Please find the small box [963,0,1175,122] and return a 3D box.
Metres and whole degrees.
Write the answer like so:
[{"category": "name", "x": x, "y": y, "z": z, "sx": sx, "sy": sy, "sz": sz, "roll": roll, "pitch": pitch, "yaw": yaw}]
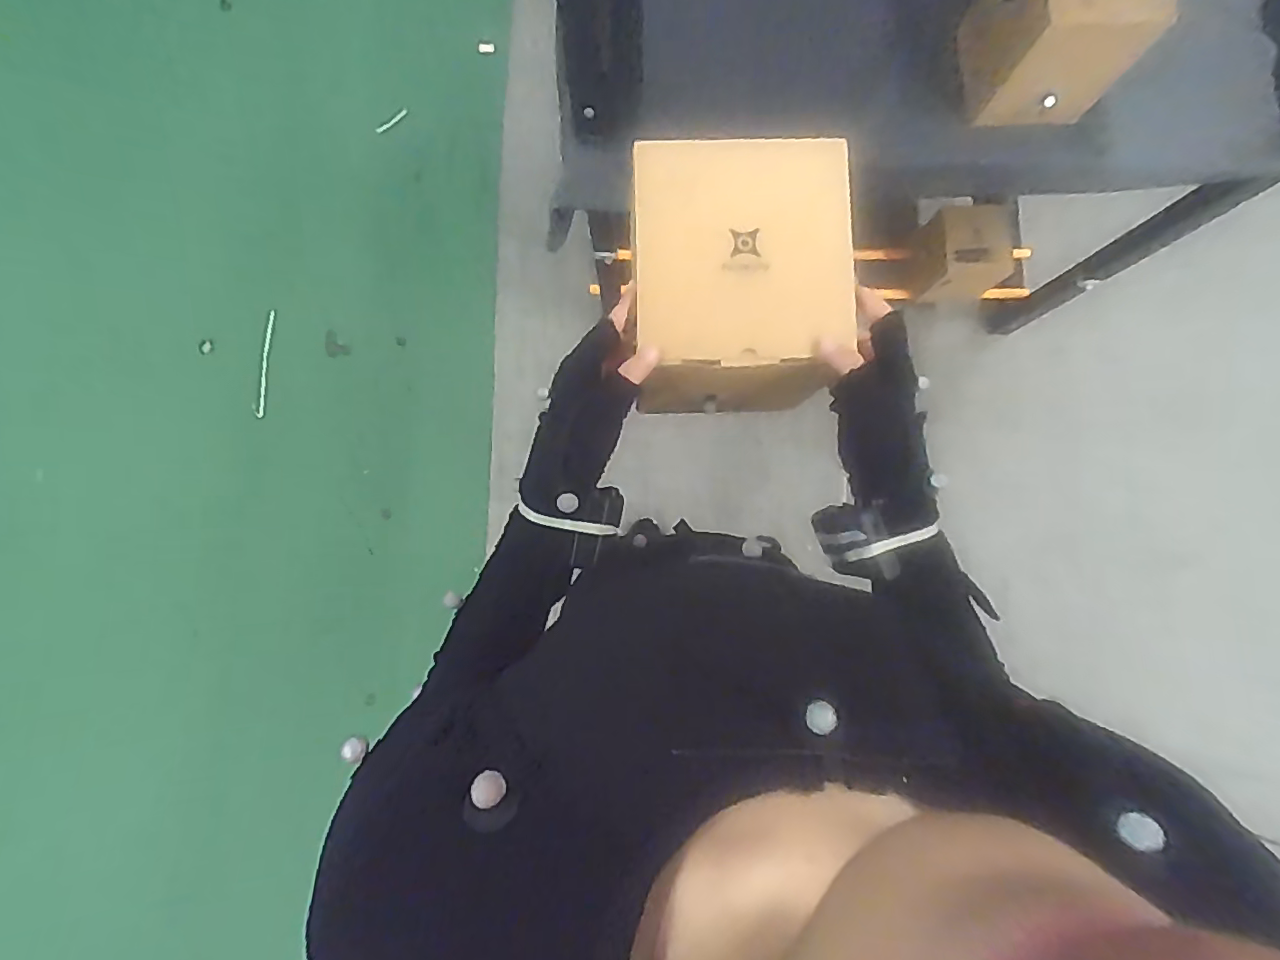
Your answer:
[{"category": "small box", "x": 0.595, "y": -0.657, "z": 0.777, "sx": 0.168, "sy": 0.176, "sz": 0.179, "roll": -2, "pitch": 82, "yaw": 0}]
